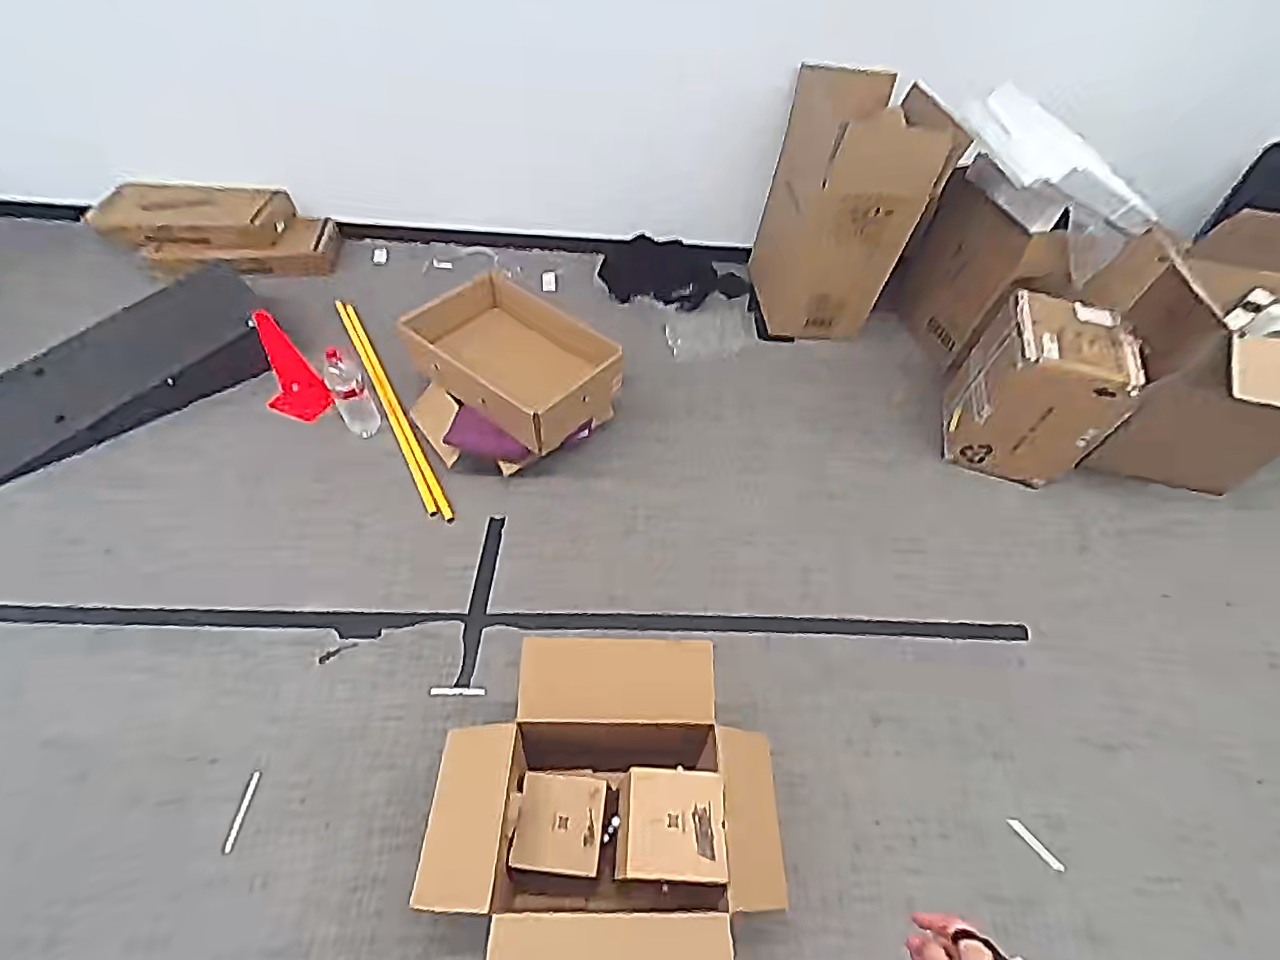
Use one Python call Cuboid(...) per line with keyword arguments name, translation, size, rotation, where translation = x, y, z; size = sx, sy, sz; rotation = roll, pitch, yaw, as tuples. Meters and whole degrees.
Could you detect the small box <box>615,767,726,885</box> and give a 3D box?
Cuboid(name="small box", translation=(0.053, 0.651, 1.012), size=(0.179, 0.176, 0.168), rotation=(6, 51, -4))
